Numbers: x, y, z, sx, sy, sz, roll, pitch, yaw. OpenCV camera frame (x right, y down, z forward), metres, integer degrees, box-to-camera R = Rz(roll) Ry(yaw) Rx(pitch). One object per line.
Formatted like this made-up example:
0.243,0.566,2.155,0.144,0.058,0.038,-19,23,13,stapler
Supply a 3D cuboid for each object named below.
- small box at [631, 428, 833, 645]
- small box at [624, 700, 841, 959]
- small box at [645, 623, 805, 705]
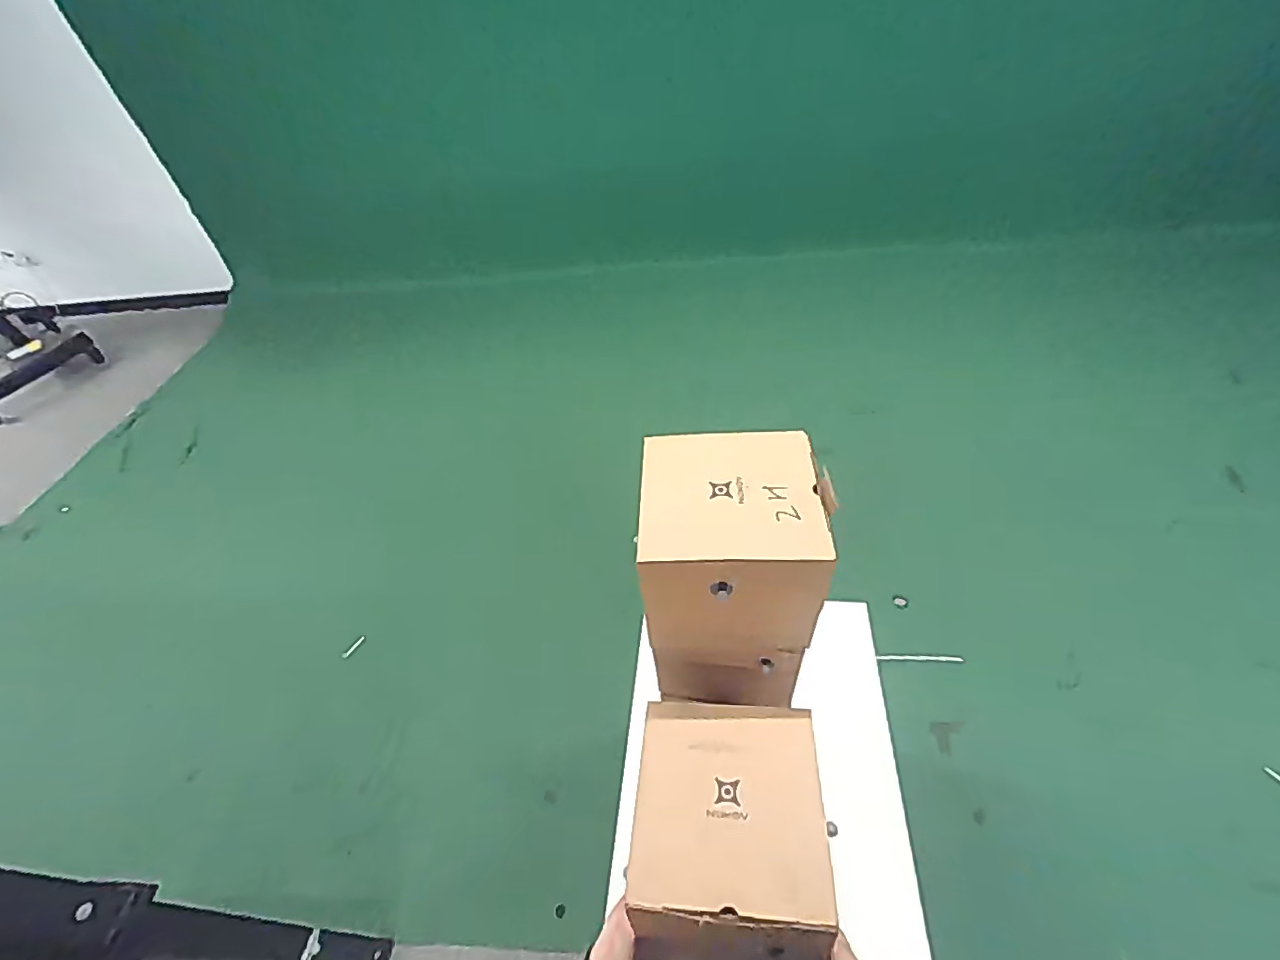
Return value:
0.090,0.063,0.574,0.179,0.176,0.168,-1,47,6,small box
0.085,0.338,0.516,0.168,0.176,0.179,0,37,8,small box
0.111,0.172,0.696,0.179,0.176,0.168,4,47,10,small box
